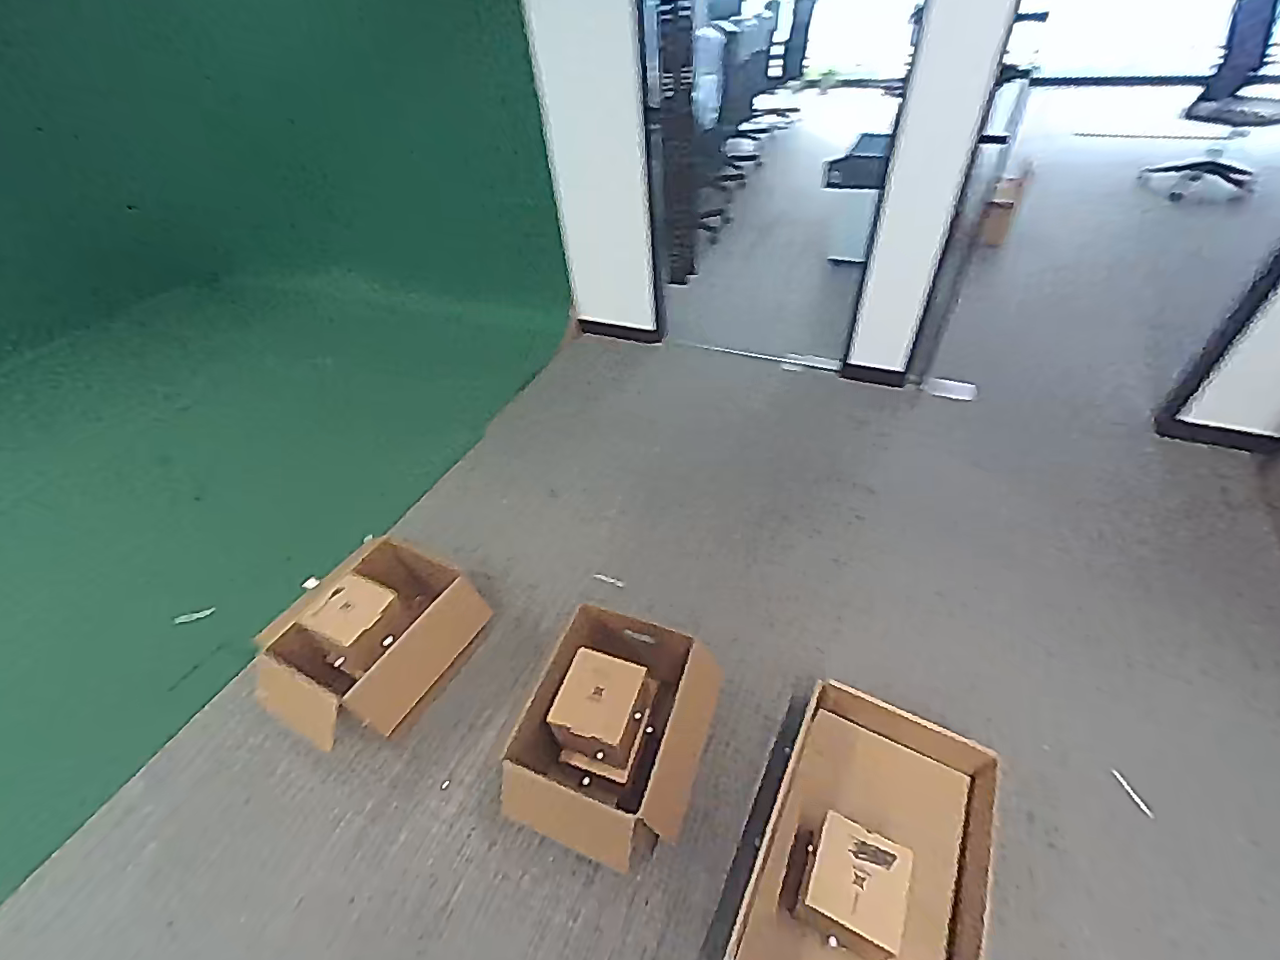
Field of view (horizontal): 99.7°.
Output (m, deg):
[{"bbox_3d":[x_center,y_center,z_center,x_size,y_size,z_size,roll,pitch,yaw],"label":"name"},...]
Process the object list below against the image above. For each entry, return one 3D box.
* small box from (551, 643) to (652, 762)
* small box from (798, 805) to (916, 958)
[{"bbox_3d":[-0.076,0.507,1.226,0.168,0.176,0.179,13,49,17],"label":"small box"},{"bbox_3d":[0.424,0.795,1.071,0.168,0.176,0.179,18,49,22],"label":"small box"}]
